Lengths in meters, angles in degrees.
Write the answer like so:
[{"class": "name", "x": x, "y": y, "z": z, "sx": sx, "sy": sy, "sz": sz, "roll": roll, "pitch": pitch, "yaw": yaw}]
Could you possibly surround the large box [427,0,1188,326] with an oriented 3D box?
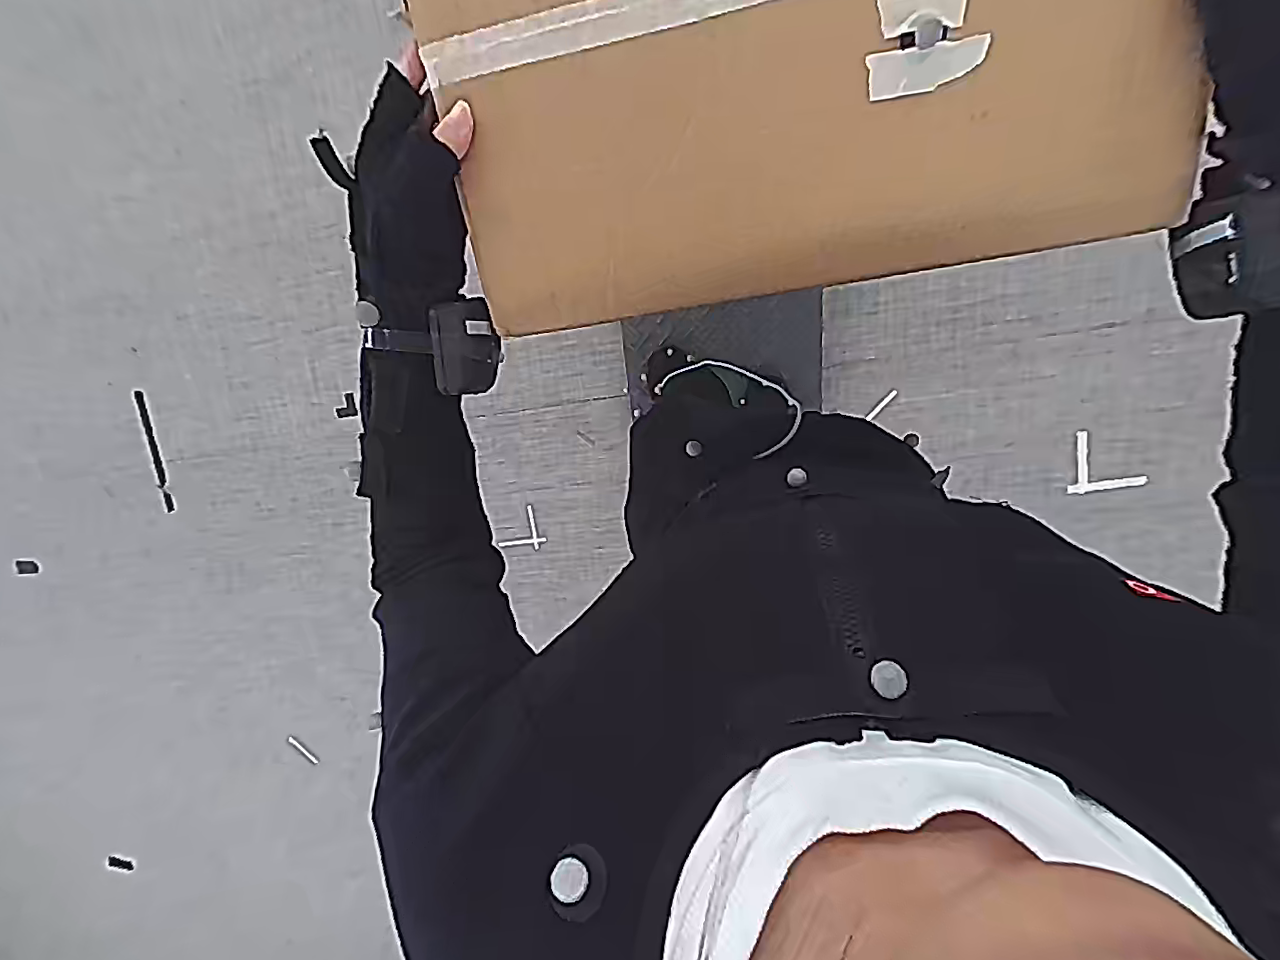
[{"class": "large box", "x": 0.091, "y": -0.325, "z": 0.429, "sx": 0.408, "sy": 0.320, "sz": 0.320, "roll": -7, "pitch": 111, "yaw": 10}]
